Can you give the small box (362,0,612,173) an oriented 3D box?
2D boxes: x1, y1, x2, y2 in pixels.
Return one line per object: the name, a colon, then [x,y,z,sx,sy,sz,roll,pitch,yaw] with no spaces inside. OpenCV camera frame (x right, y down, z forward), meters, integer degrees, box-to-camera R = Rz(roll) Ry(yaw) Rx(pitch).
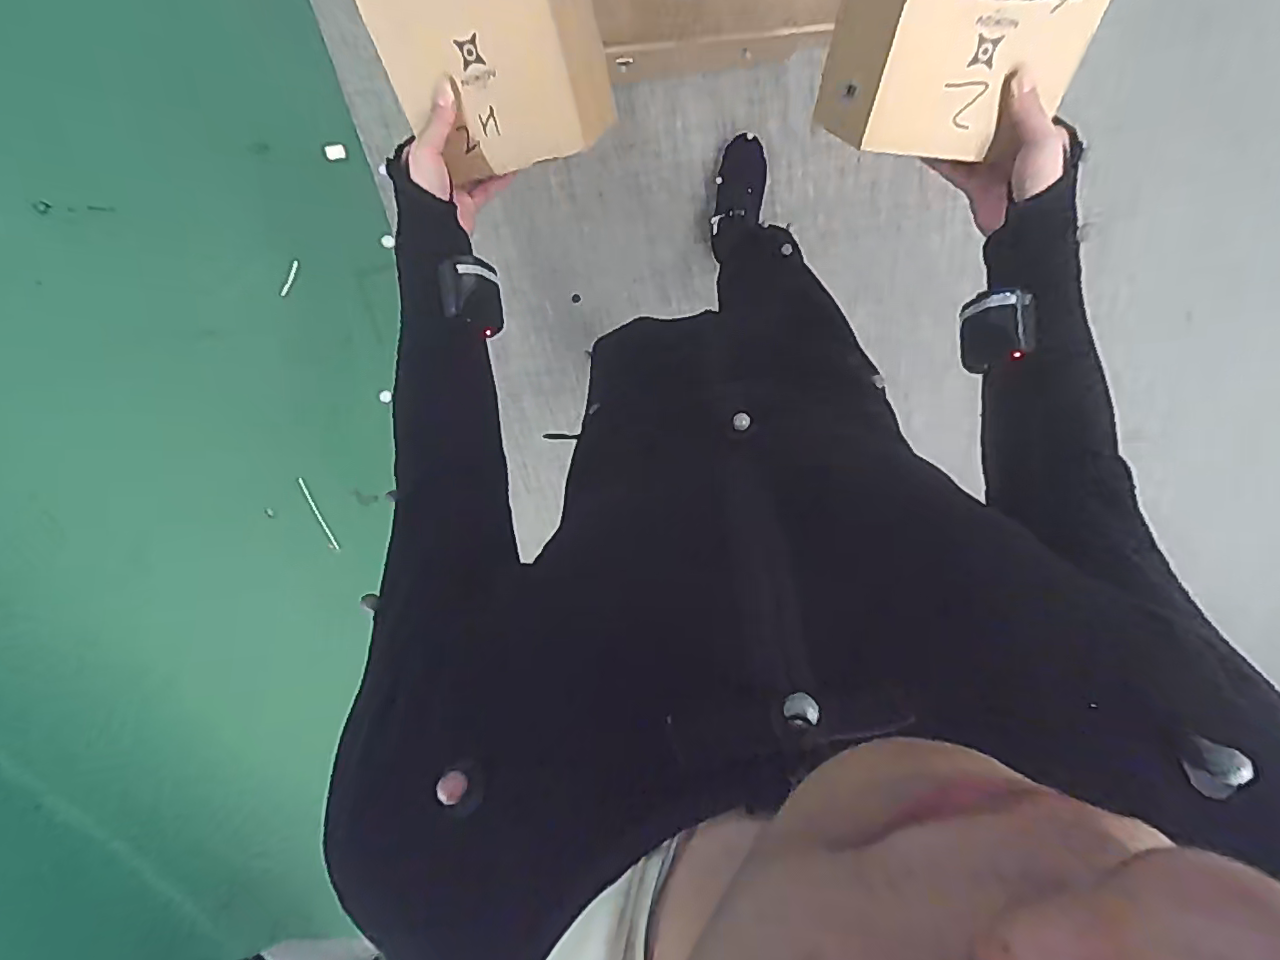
small box: [-0.137,-0.432,0.531,0.168,0.176,0.179,-5,131,15]
